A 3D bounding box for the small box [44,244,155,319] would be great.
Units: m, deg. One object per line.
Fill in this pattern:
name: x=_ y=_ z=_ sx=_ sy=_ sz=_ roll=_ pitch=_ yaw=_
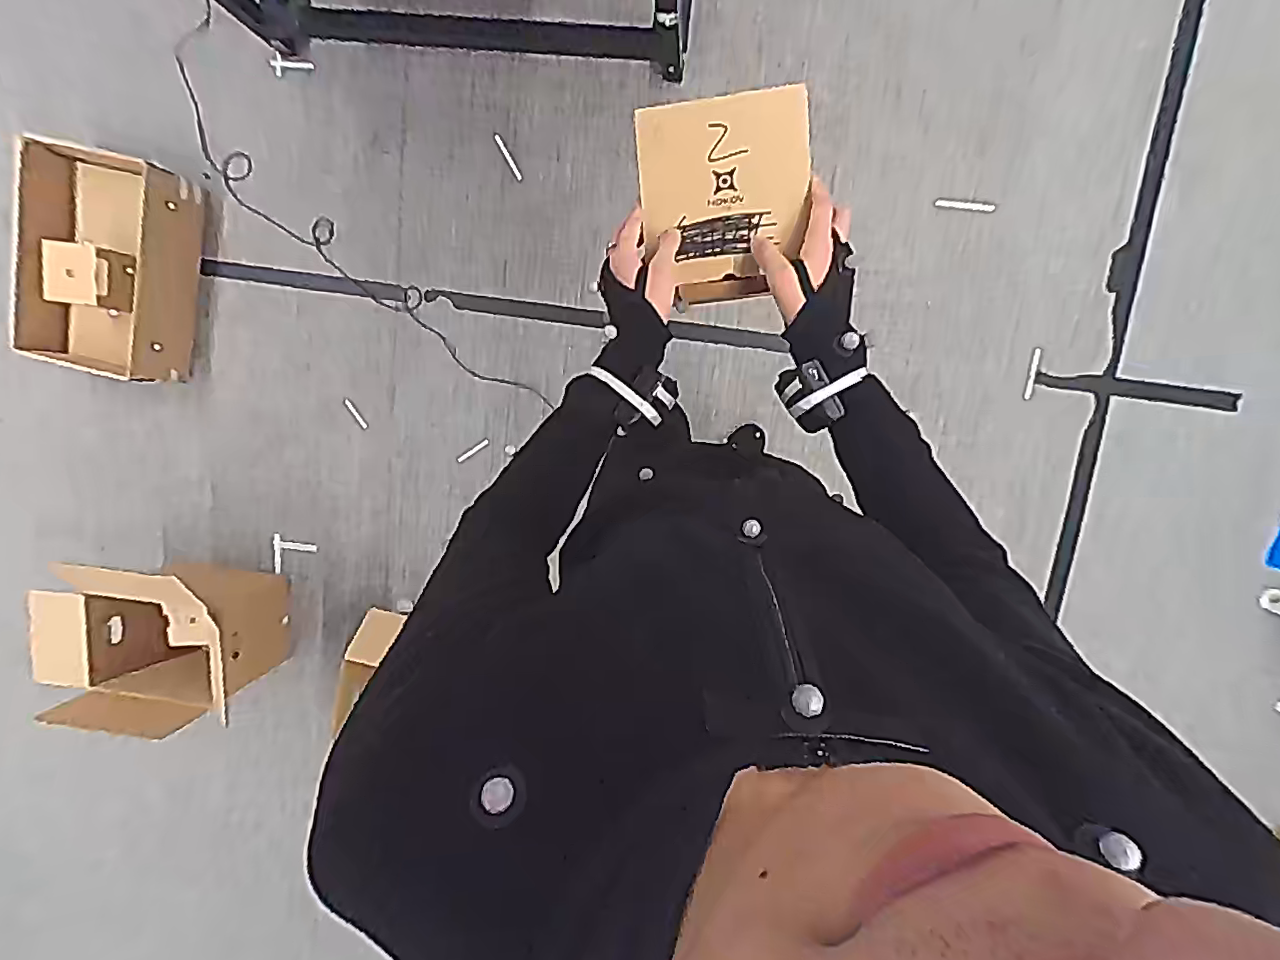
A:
small box: x=-1.587 y=-0.578 z=1.596 sx=0.179 sy=0.176 sz=0.168 roll=9 pitch=97 yaw=5
